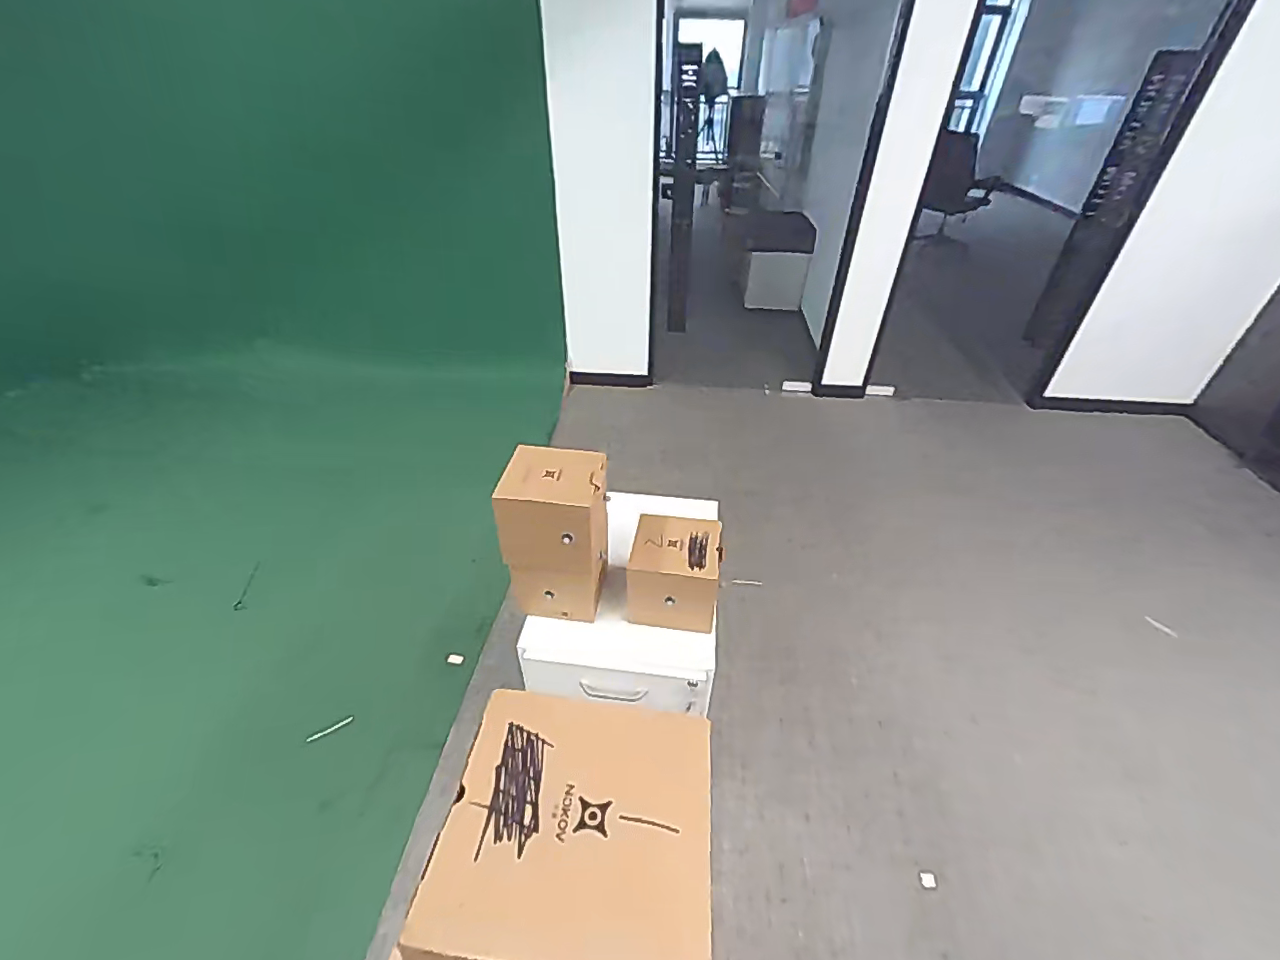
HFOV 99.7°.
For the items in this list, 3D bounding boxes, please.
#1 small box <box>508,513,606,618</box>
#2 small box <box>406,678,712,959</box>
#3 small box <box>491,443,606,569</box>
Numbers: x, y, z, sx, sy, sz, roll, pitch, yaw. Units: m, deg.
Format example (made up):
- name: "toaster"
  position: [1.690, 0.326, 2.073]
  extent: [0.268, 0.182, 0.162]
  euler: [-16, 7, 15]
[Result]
- name: "small box"
  position: [-0.165, 0.168, 1.142]
  extent: [0.168, 0.176, 0.179]
  euler: [7, 39, 4]
- name: "small box"
  position: [-0.045, 0.281, 0.408]
  extent: [0.179, 0.176, 0.168]
  euler: [8, 34, 3]
- name: "small box"
  position: [-0.162, 0.050, 1.029]
  extent: [0.179, 0.176, 0.168]
  euler: [5, 38, 4]
